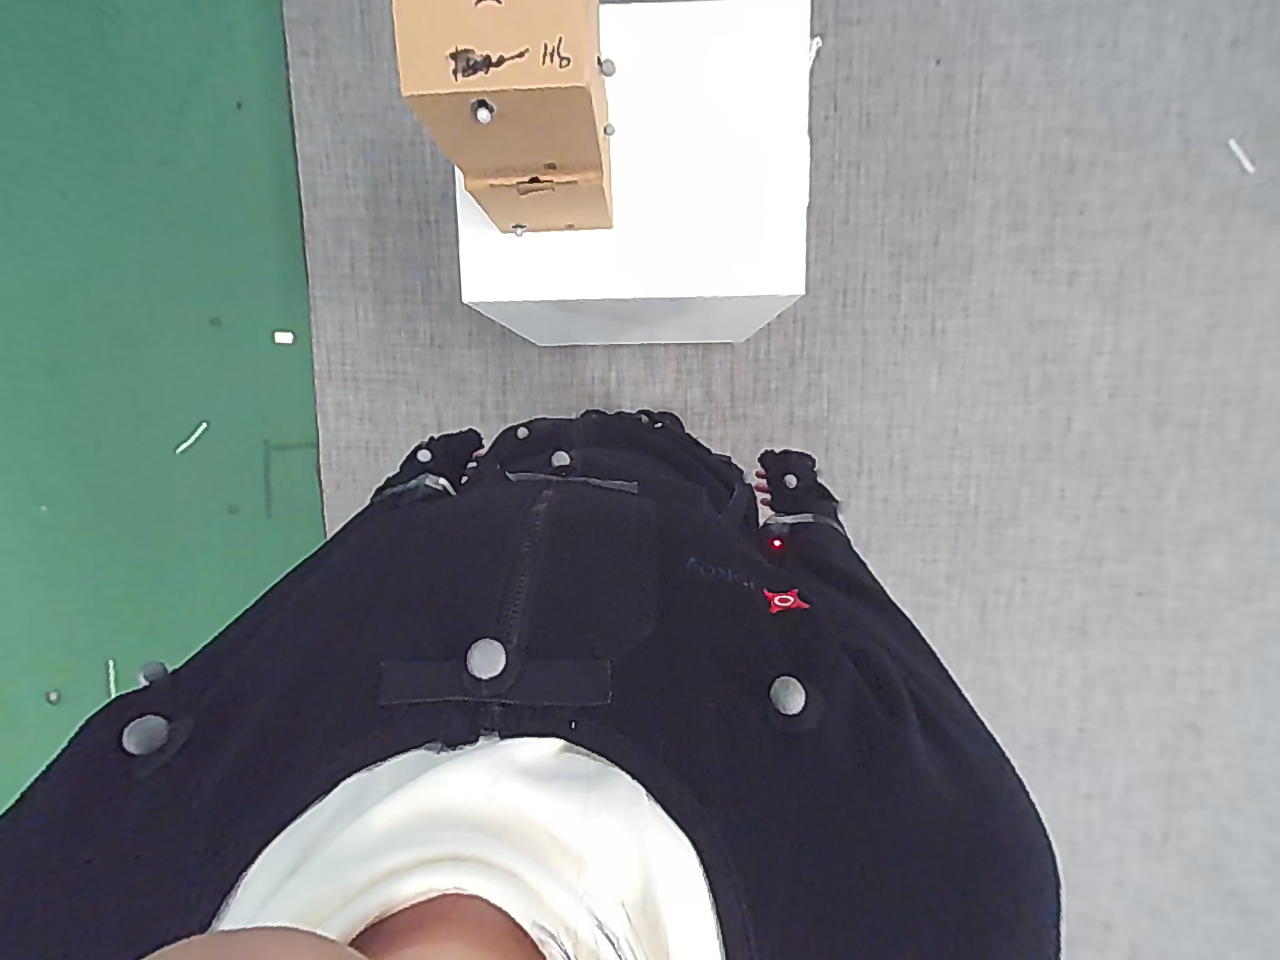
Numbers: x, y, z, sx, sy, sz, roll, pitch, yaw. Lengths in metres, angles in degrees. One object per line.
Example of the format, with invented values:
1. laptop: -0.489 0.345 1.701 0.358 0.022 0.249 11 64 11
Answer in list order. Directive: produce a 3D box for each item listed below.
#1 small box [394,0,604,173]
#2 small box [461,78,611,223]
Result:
1. small box: -0.126 -0.435 0.536 0.168 0.176 0.179 -2 97 2
2. small box: -0.126 -0.446 0.699 0.168 0.176 0.179 -2 97 1
